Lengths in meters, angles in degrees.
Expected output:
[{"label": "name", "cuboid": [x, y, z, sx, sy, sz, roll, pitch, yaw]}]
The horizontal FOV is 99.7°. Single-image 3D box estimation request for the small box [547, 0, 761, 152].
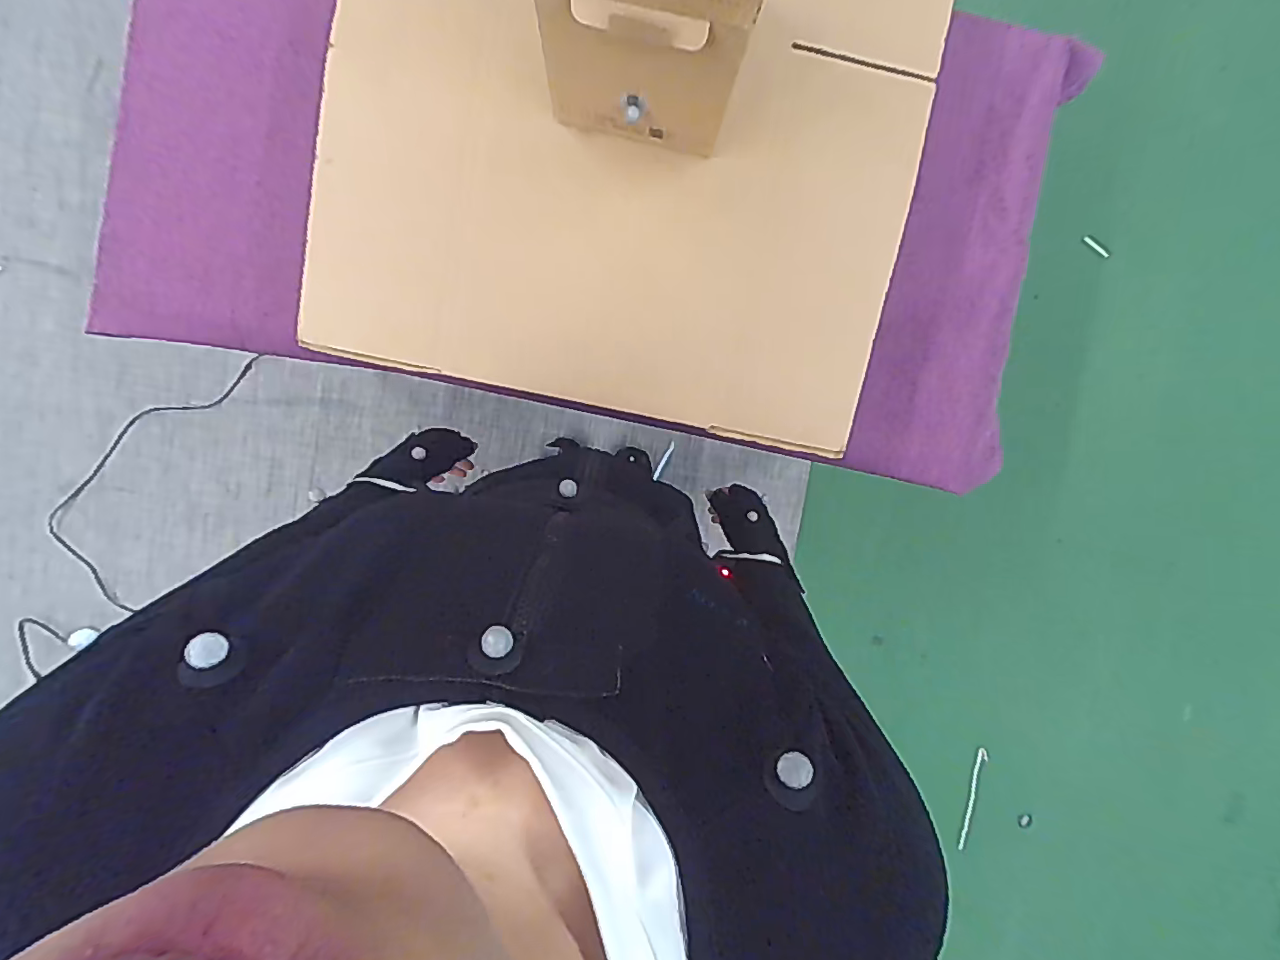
[{"label": "small box", "cuboid": [0.018, -0.430, 0.464, 0.168, 0.176, 0.179, 12, 92, -4]}]
